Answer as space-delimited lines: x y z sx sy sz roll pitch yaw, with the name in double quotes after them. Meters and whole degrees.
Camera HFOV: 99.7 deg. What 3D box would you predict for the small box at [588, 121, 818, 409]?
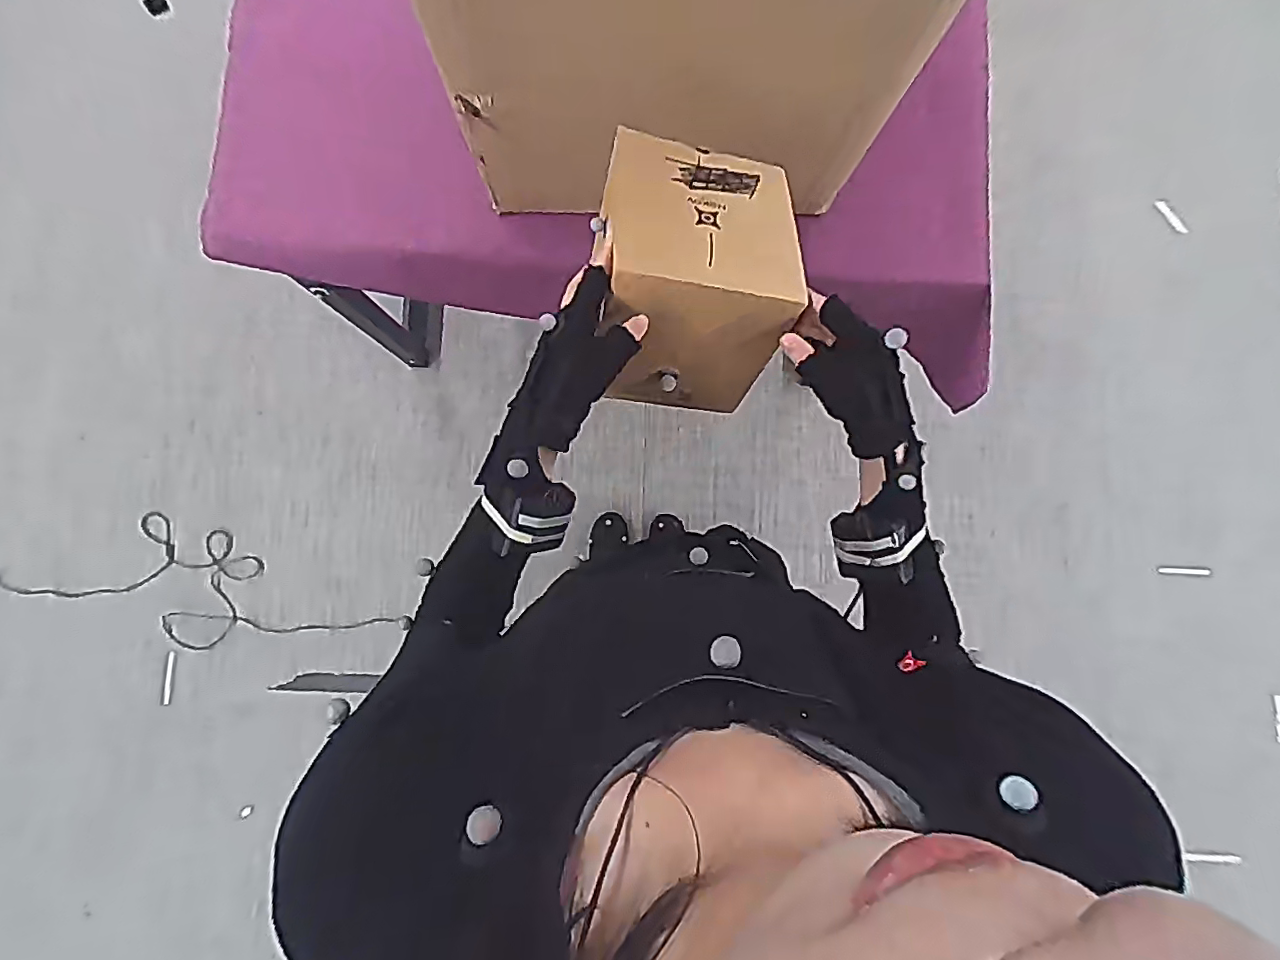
0.044 -0.194 0.519 0.168 0.176 0.179 6 62 -11 "small box"
